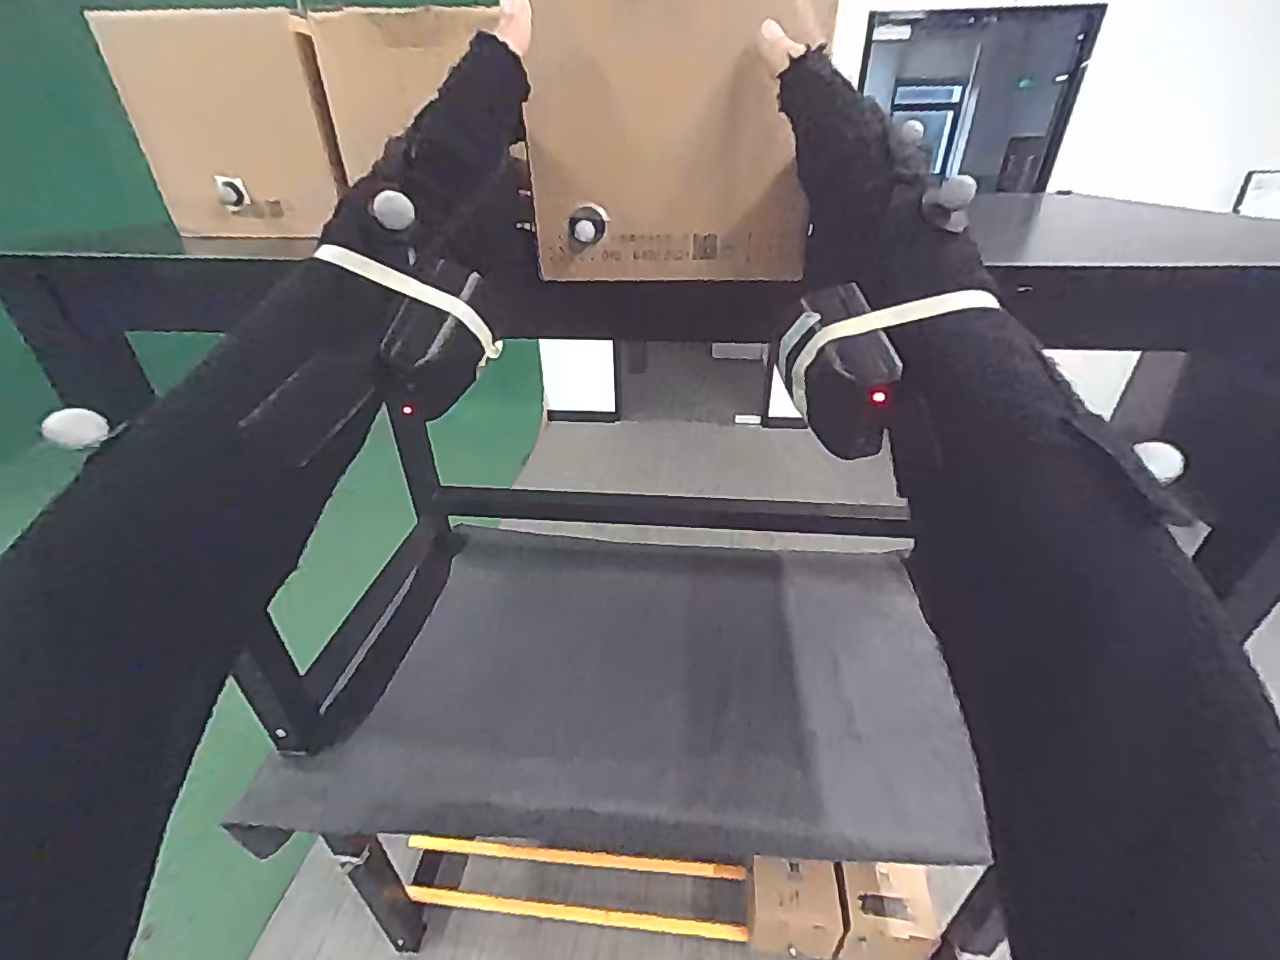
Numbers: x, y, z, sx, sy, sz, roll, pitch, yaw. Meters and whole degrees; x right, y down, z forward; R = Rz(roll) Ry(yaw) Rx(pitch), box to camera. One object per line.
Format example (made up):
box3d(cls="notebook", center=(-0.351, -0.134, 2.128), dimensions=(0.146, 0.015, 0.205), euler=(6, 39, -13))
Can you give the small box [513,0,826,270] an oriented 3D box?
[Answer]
box3d(cls="small box", center=(0.023, -0.244, 0.372), dimensions=(0.168, 0.176, 0.179), euler=(2, 30, 3))
